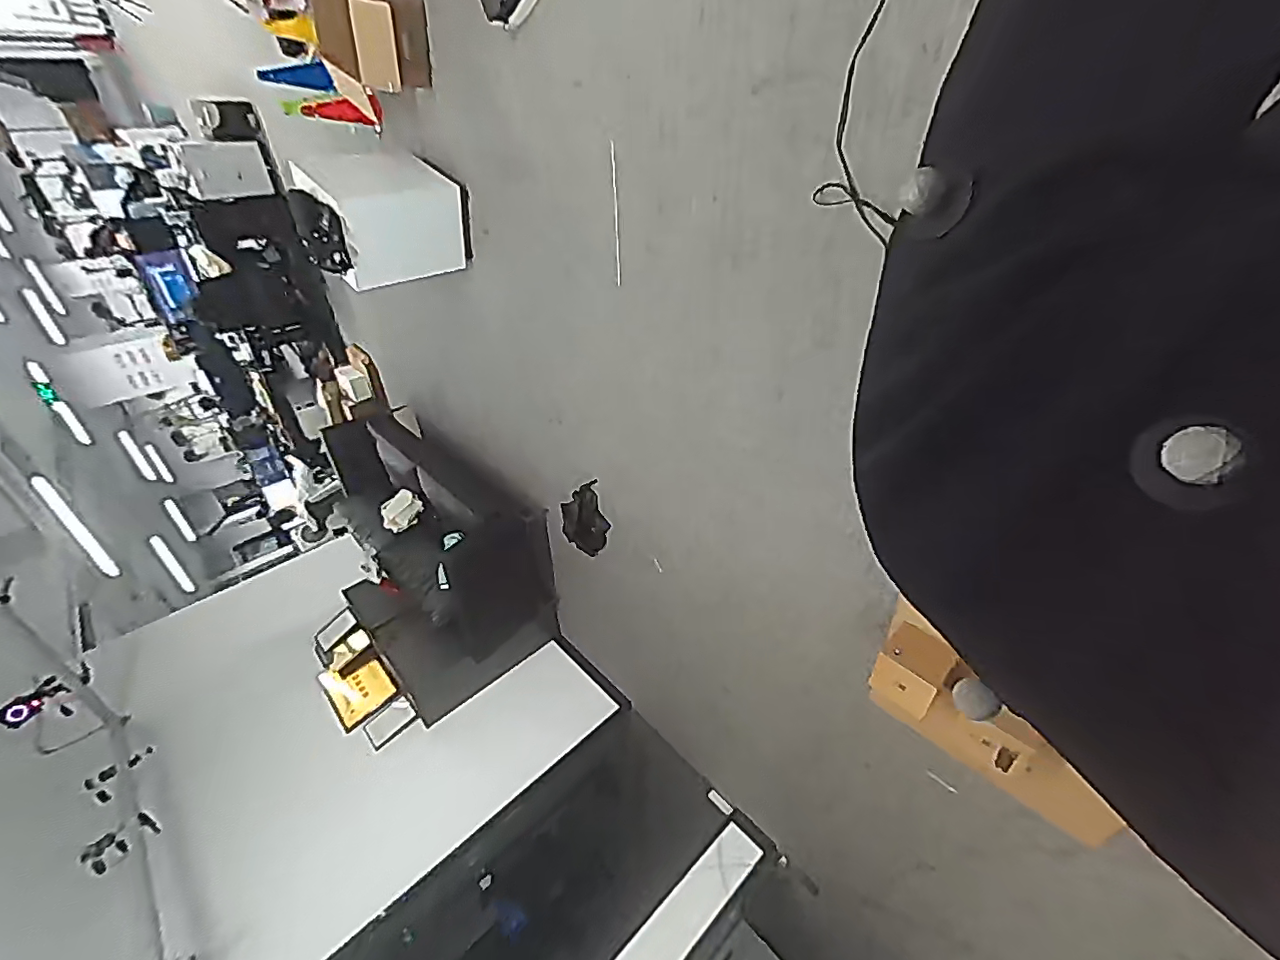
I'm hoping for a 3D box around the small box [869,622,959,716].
[{"bbox_3d":[0.834,0.568,1.646,0.179,0.176,0.168,31,137,38],"label":"small box"}]
